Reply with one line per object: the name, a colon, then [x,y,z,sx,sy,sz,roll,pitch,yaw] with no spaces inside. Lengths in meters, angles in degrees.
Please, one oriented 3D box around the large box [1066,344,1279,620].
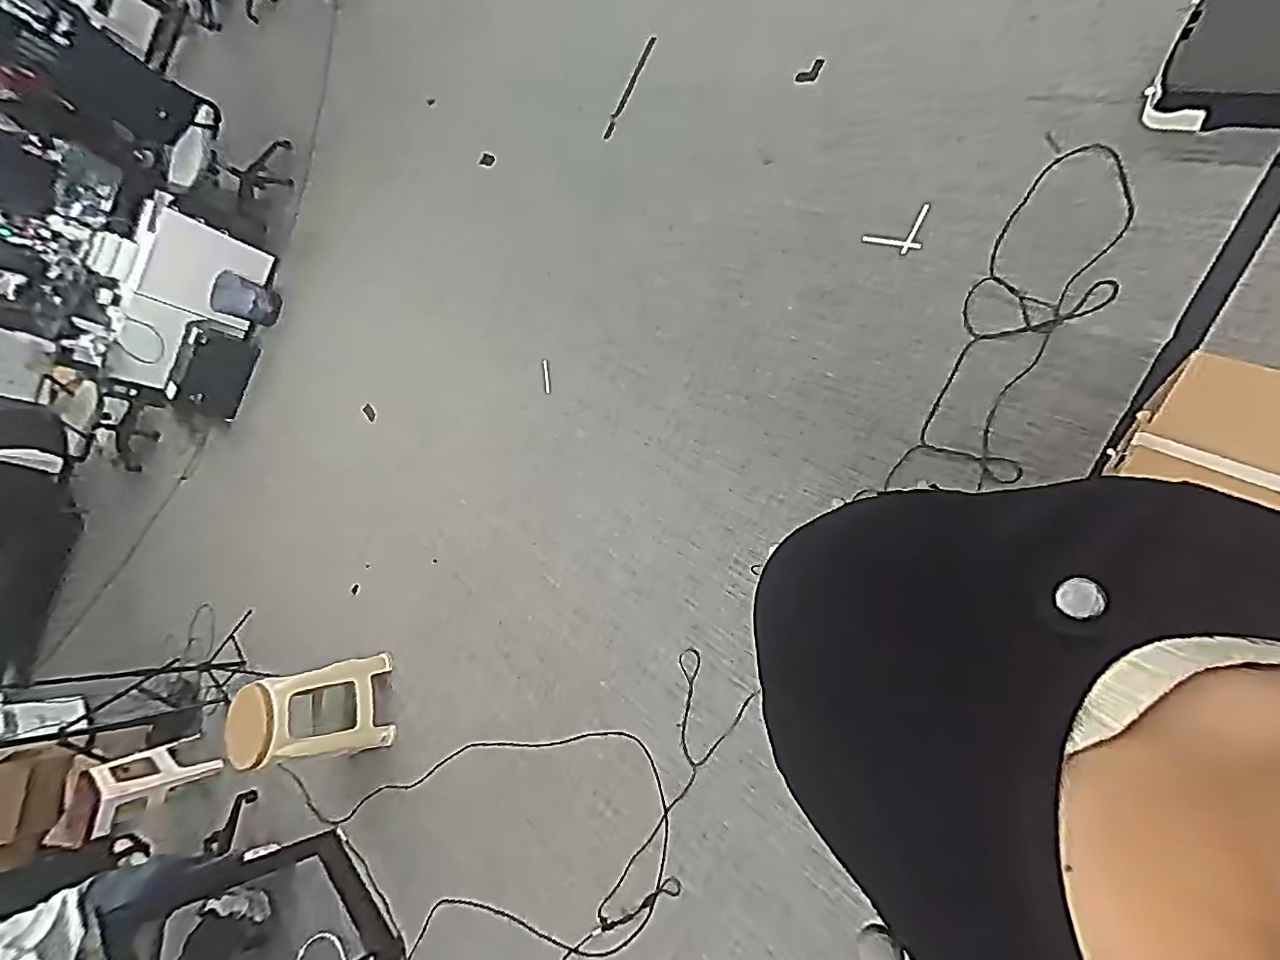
large box: [1.007,0.030,0.869,0.408,0.320,0.320,31,99,32]
